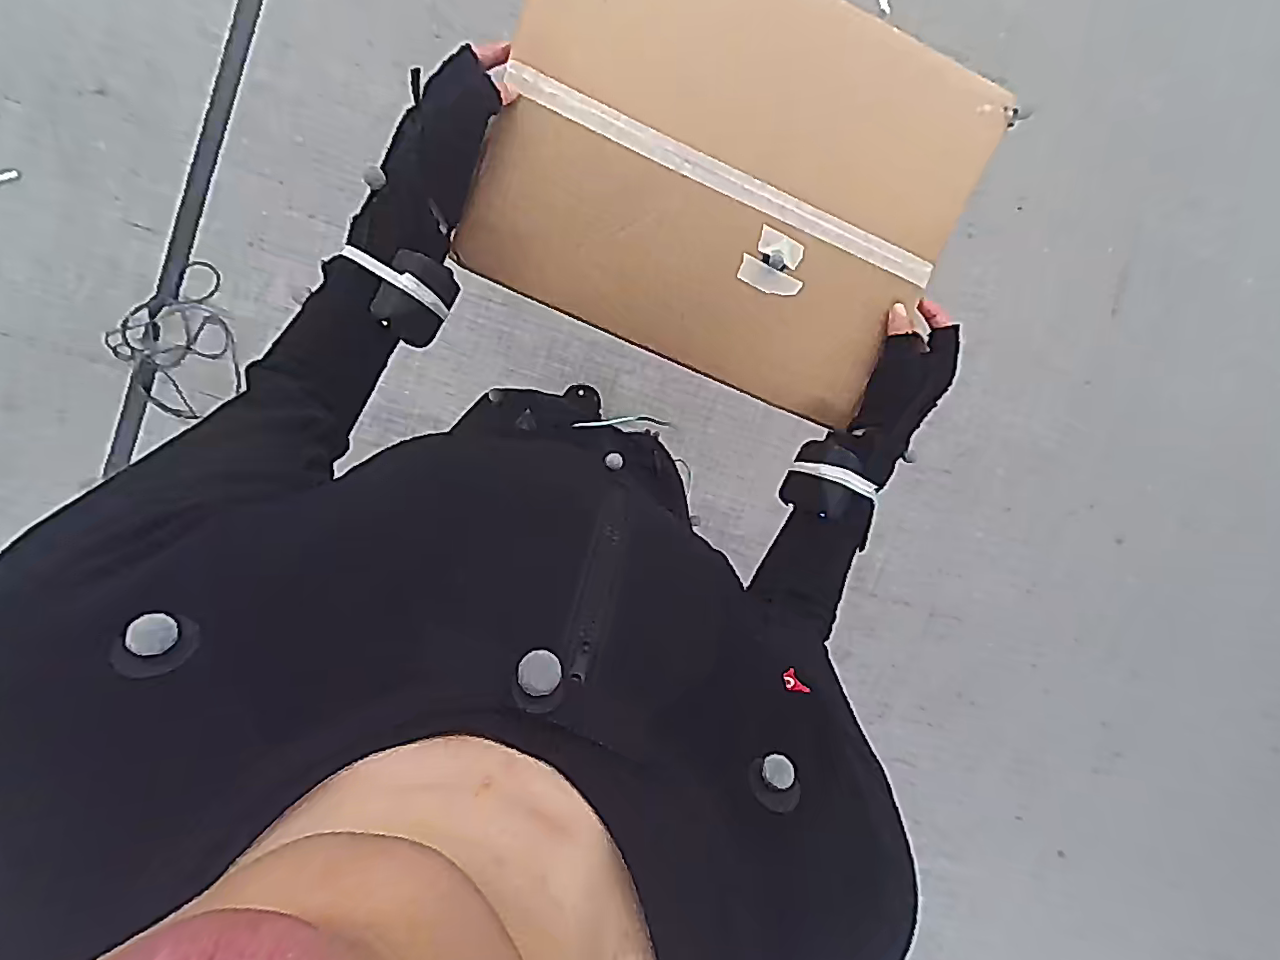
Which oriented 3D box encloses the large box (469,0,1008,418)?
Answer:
[{"bbox_3d":[0.076,-0.307,0.623,0.408,0.320,0.320,23,105,-8],"label":"large box"}]
